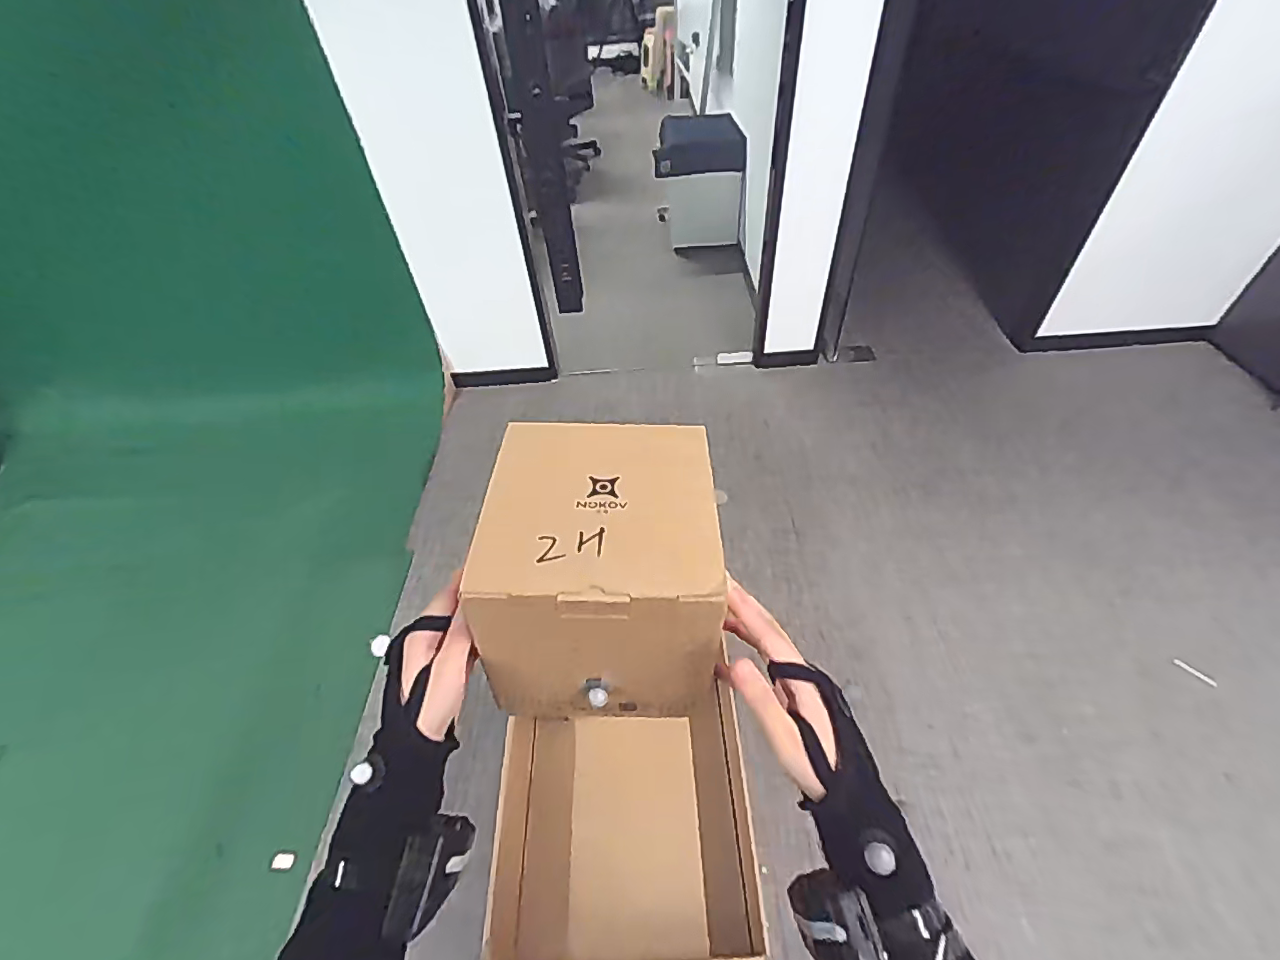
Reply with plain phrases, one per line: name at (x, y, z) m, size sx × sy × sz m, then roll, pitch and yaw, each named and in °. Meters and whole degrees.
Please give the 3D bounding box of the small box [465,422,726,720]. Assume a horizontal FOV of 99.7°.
small box at (-0.026, 0.072, 0.446) m, size 0.168 × 0.176 × 0.179 m, roll 2°, pitch 43°, yaw 1°
